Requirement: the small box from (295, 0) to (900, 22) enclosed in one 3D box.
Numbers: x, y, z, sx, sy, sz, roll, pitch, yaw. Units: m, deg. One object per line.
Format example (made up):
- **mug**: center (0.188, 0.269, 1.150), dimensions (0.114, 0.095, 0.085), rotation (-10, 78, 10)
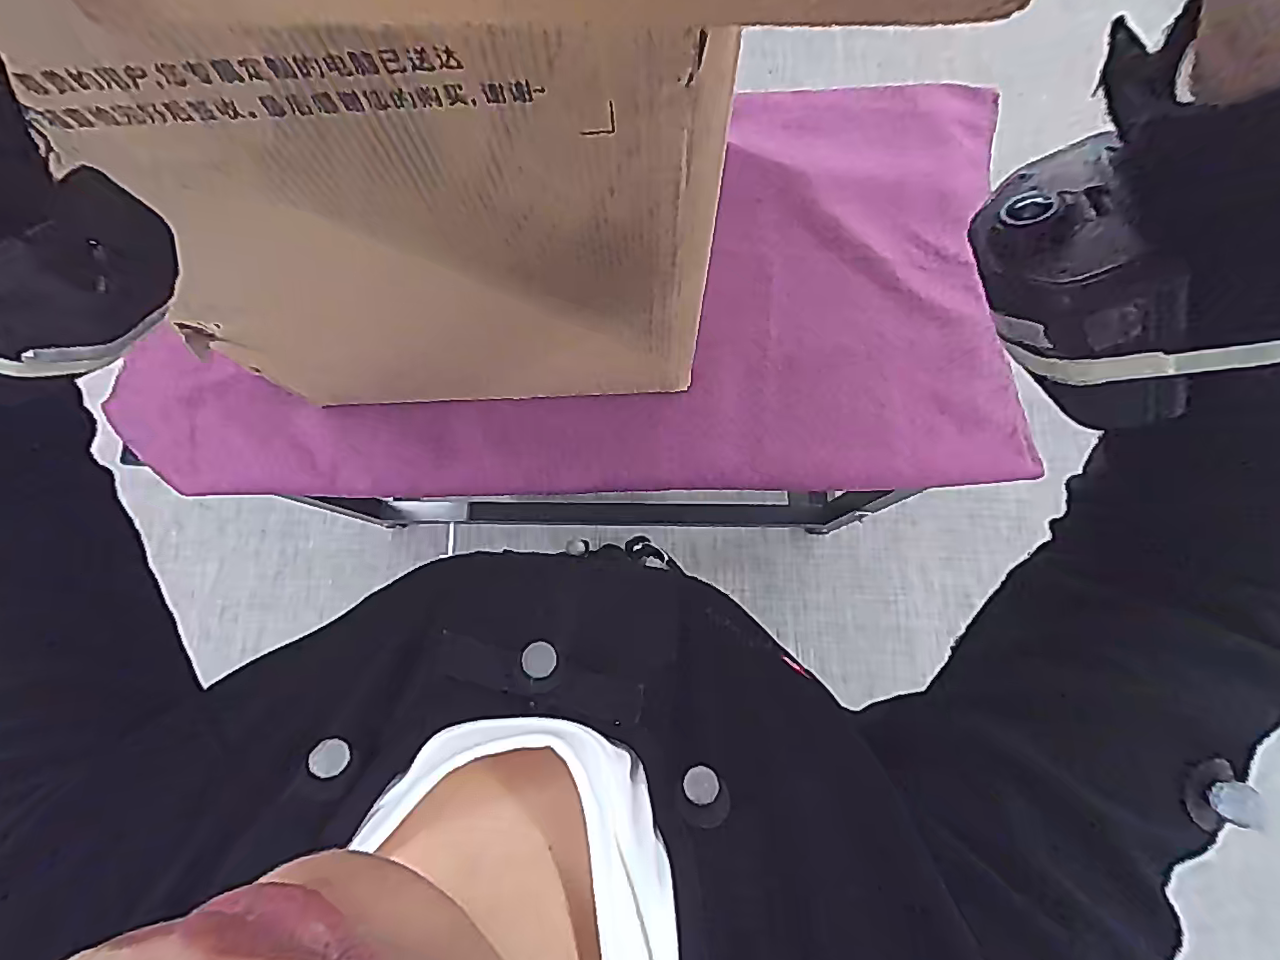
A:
- **small box**: center (-0.016, -0.184, 0.046), dimensions (0.179, 0.176, 0.168), rotation (4, 73, 5)
